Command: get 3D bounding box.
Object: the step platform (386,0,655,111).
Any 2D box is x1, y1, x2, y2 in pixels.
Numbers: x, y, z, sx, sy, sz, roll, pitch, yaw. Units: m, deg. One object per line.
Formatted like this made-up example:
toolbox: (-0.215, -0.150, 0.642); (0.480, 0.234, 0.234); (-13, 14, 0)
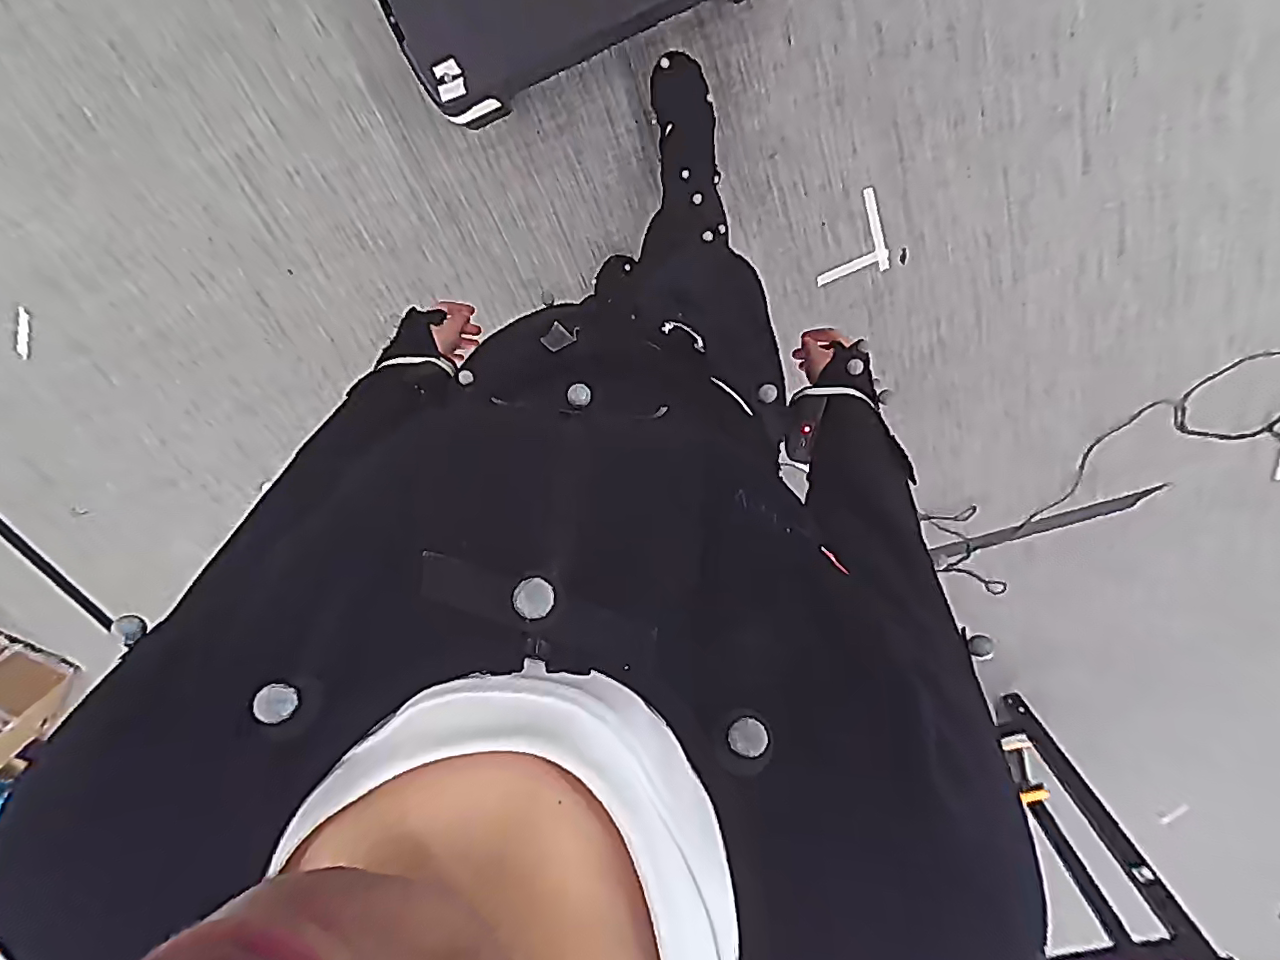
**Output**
step platform: (-0.091, -0.895, 0.879); (0.684, 0.204, 0.286); (-19, 115, 10)
